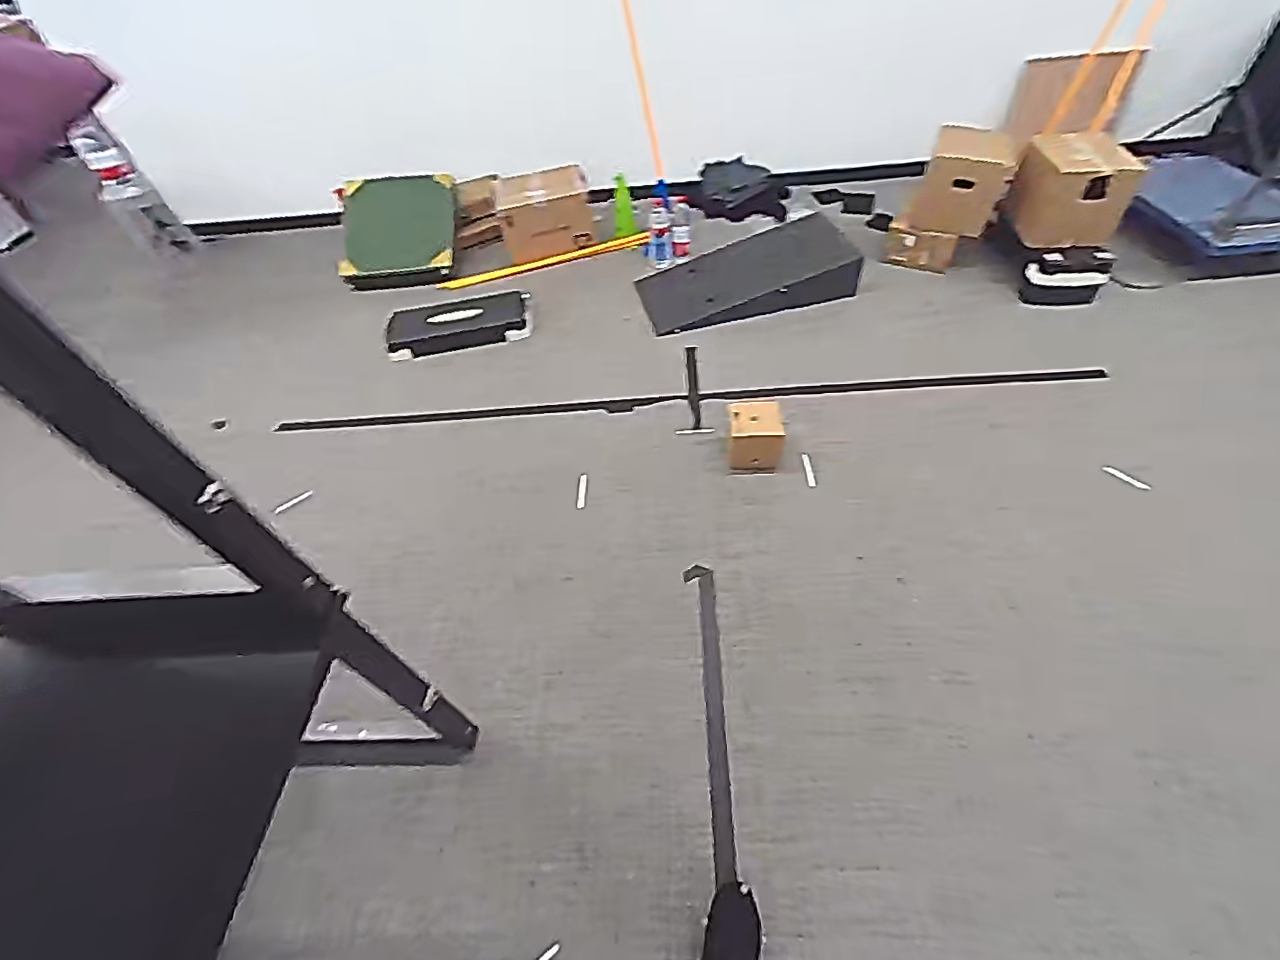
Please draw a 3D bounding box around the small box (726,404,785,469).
[{"bbox_3d":[0.399,-0.151,1.901,0.179,0.176,0.168,-1,50,4],"label":"small box"}]
